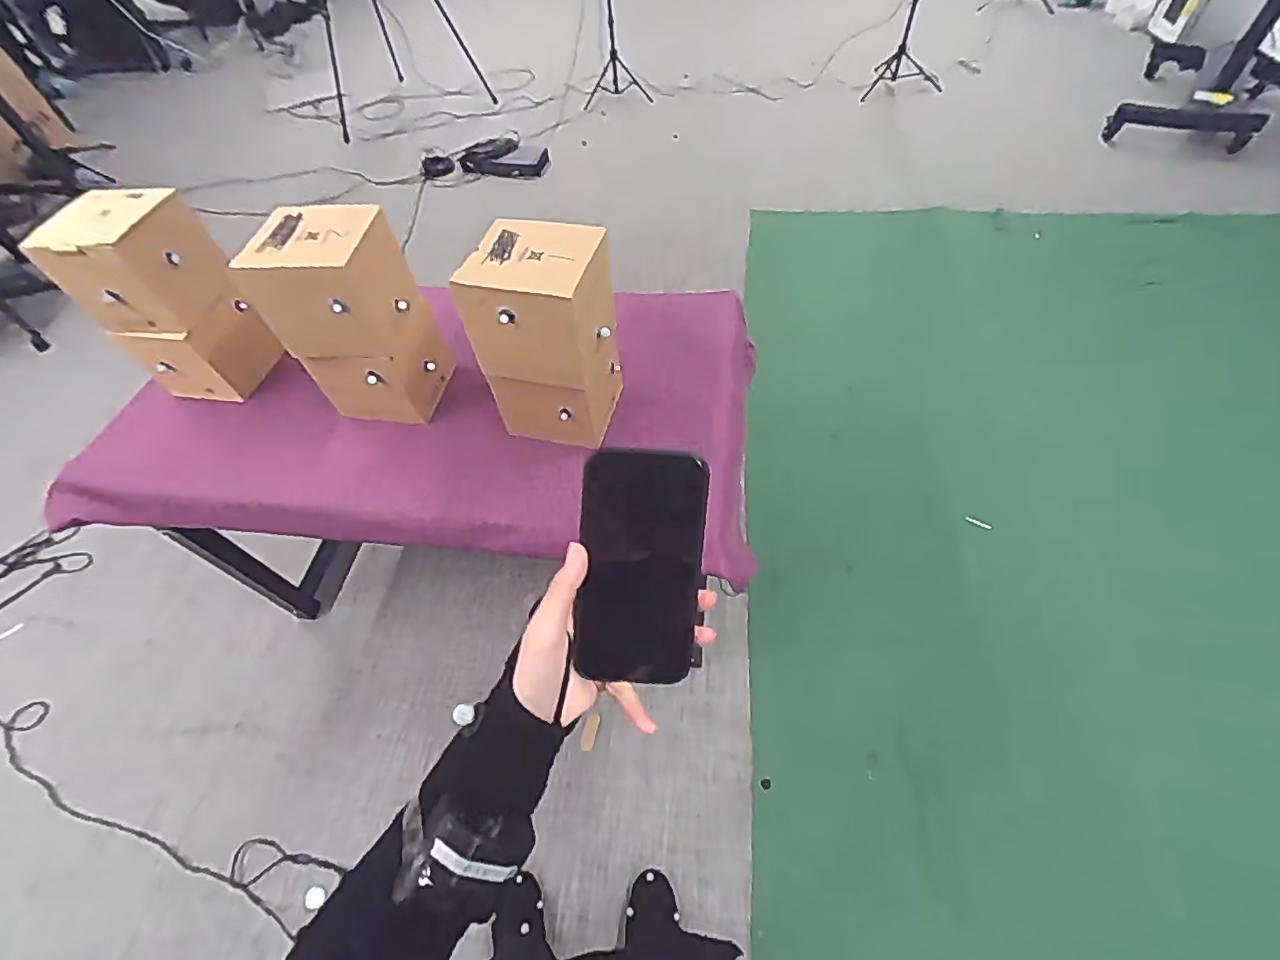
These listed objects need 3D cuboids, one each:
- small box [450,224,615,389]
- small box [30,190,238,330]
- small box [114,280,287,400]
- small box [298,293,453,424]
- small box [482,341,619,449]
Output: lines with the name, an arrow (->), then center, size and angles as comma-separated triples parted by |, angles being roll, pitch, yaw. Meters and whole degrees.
small box -> -0.148, -0.257, 0.812 | 0.179, 0.176, 0.168 | 11, 56, 11
small box -> -0.866, -0.382, 0.951 | 0.168, 0.176, 0.179 | 3, 55, 5
small box -> -0.857, -0.280, 1.080 | 0.168, 0.176, 0.179 | 7, 55, 9
small box -> -0.477, -0.223, 1.011 | 0.179, 0.176, 0.168 | 6, 55, 8
small box -> -0.144, -0.175, 0.955 | 0.179, 0.176, 0.168 | 11, 56, 12
